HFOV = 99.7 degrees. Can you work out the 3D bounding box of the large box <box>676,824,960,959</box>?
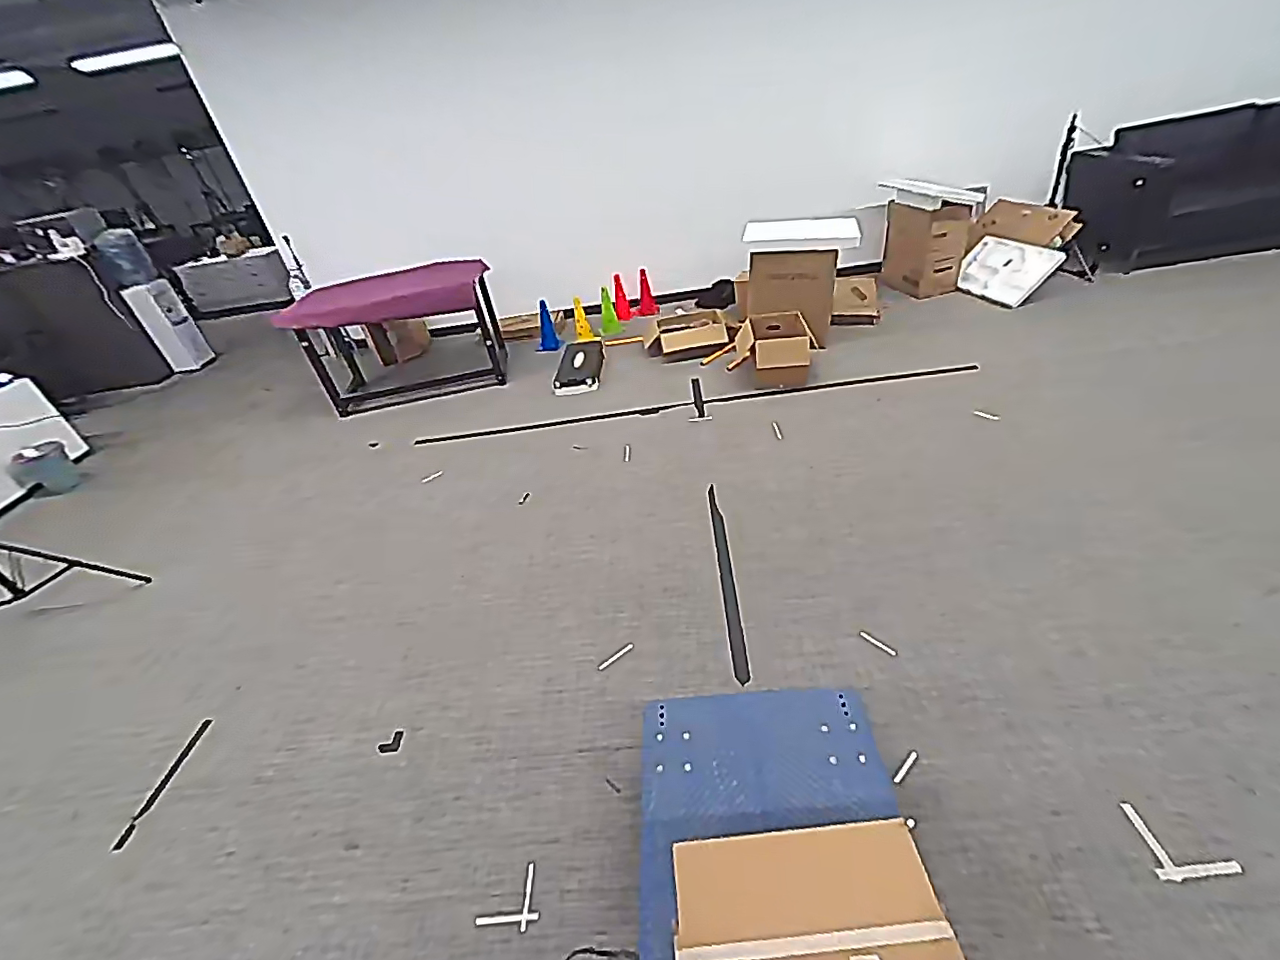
[{"bbox_3d":[0.285,0.829,0.897,0.408,0.320,0.320,-8,35,2],"label":"large box"}]
